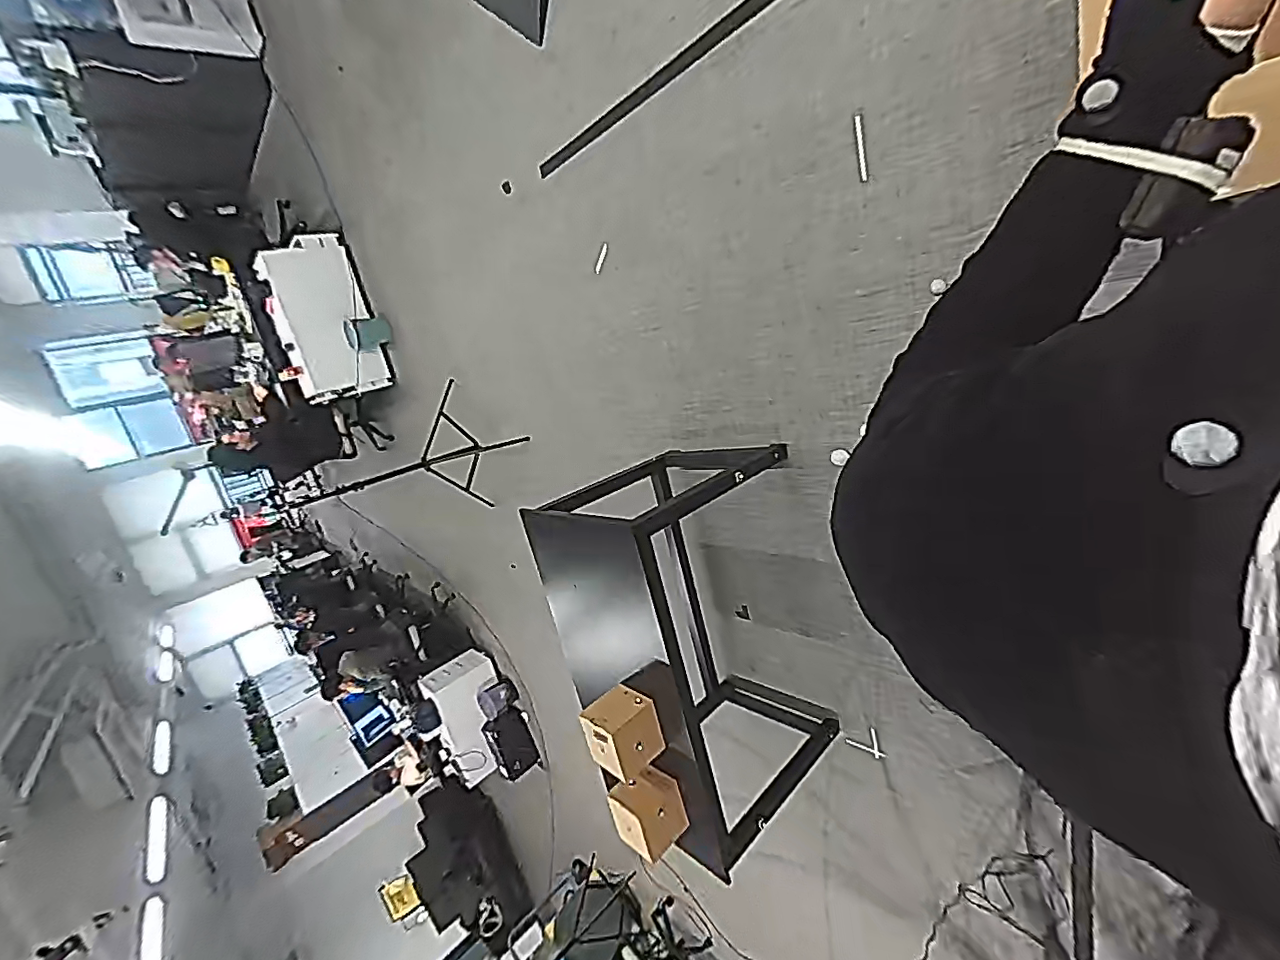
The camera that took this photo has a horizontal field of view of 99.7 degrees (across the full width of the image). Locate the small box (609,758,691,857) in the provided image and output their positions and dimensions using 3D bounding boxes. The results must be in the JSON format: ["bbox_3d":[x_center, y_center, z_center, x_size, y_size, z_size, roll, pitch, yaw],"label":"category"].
[{"bbox_3d":[0.034,1.023,1.709,0.168,0.176,0.179,-1,110,52],"label":"small box"}]

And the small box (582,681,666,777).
[{"bbox_3d":[-0.045,0.746,1.645,0.168,0.176,0.179,4,114,50],"label":"small box"}]
